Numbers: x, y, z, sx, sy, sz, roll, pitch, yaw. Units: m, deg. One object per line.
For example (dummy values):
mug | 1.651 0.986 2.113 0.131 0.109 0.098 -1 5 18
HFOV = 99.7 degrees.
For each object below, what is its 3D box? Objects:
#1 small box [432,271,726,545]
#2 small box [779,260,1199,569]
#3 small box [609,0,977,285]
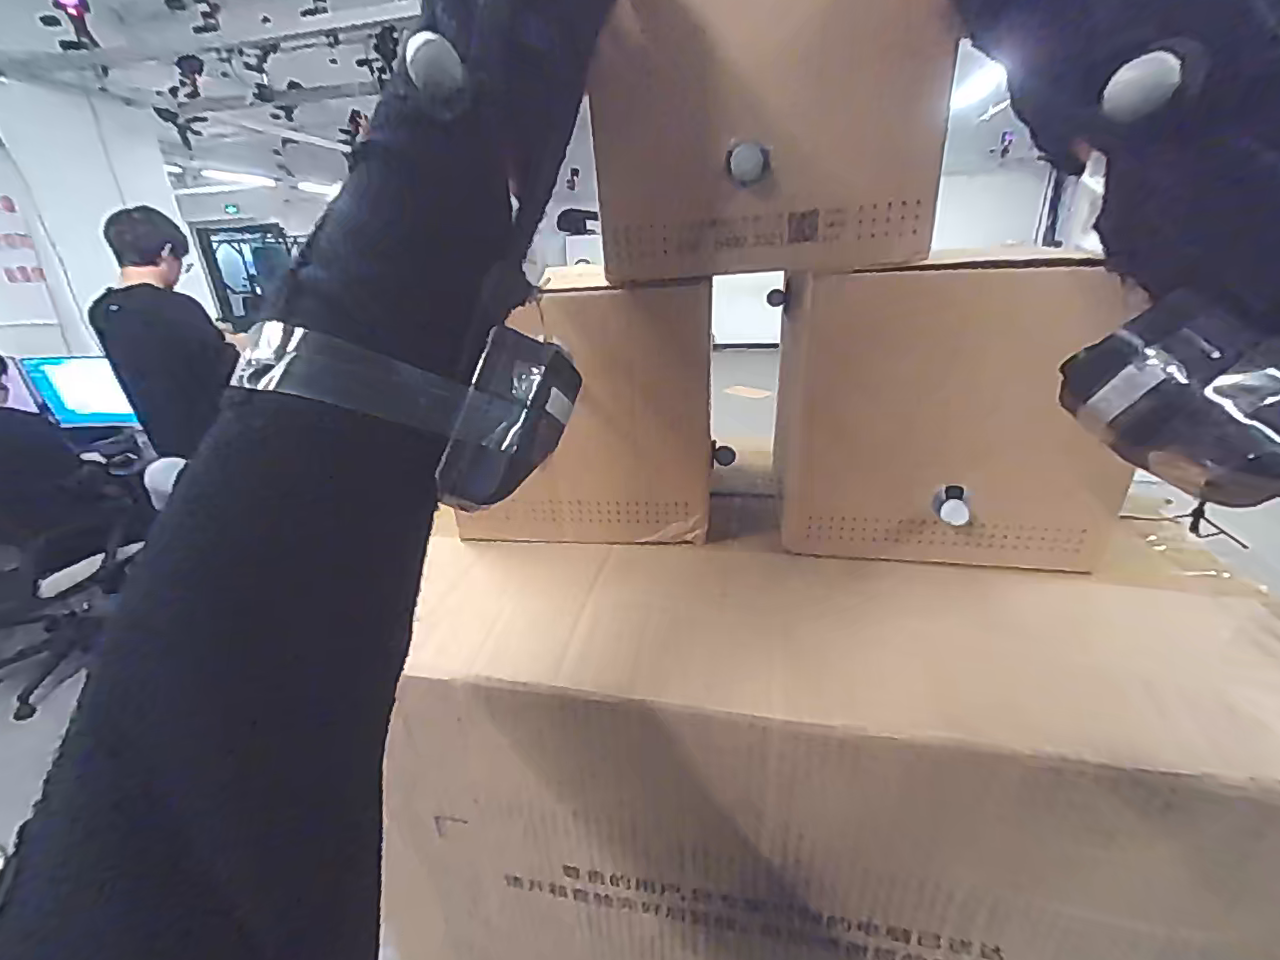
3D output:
small box | -0.025 -0.063 0.410 0.179 0.176 0.168 2 25 7
small box | 0.193 -0.053 0.368 0.179 0.176 0.168 1 23 10
small box | 0.080 -0.215 0.328 0.168 0.176 0.179 0 26 12
